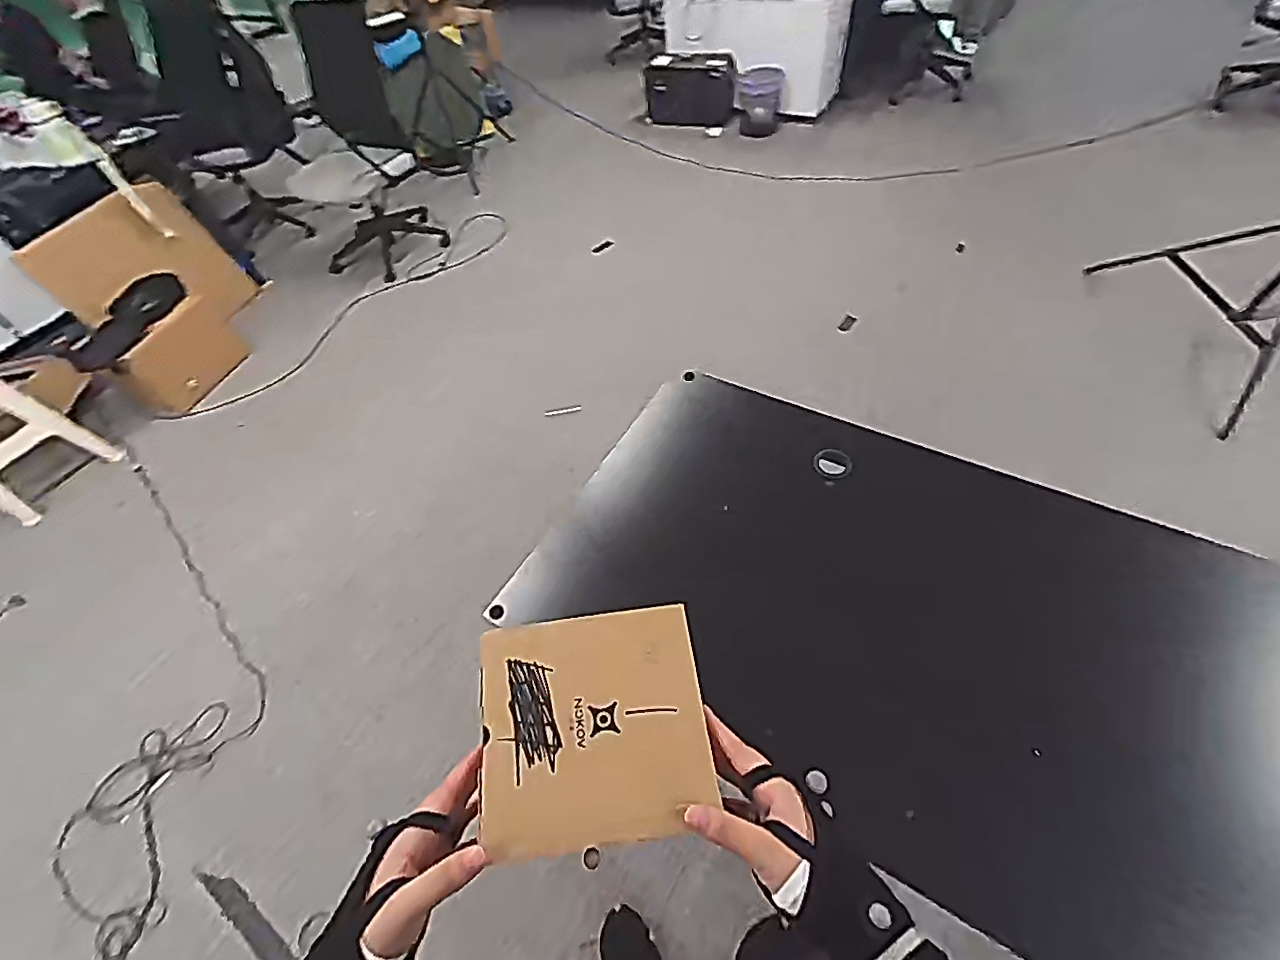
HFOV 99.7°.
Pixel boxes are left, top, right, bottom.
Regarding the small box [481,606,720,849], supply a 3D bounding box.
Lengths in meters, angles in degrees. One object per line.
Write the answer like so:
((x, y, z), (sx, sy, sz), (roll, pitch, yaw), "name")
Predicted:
((-0.036, 0.230, 0.495), (0.179, 0.176, 0.168), (-5, 58, -5), "small box")
